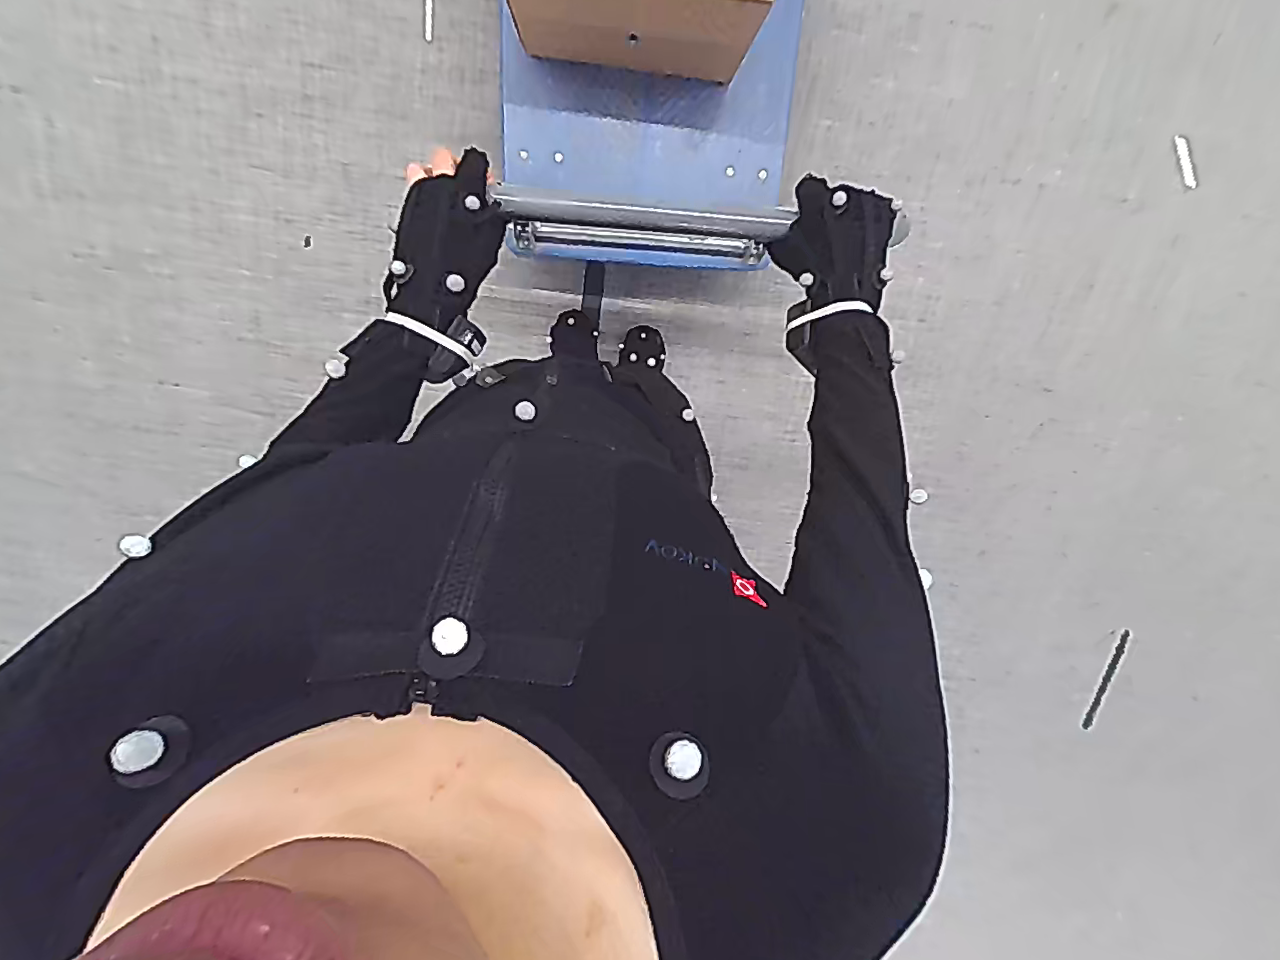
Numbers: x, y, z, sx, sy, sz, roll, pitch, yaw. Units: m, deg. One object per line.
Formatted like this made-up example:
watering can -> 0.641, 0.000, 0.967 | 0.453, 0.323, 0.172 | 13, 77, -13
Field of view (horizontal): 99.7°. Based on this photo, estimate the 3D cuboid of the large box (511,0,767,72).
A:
large box -> 0.002, -0.911, 0.874 | 0.408, 0.320, 0.320 | 4, 108, -4
